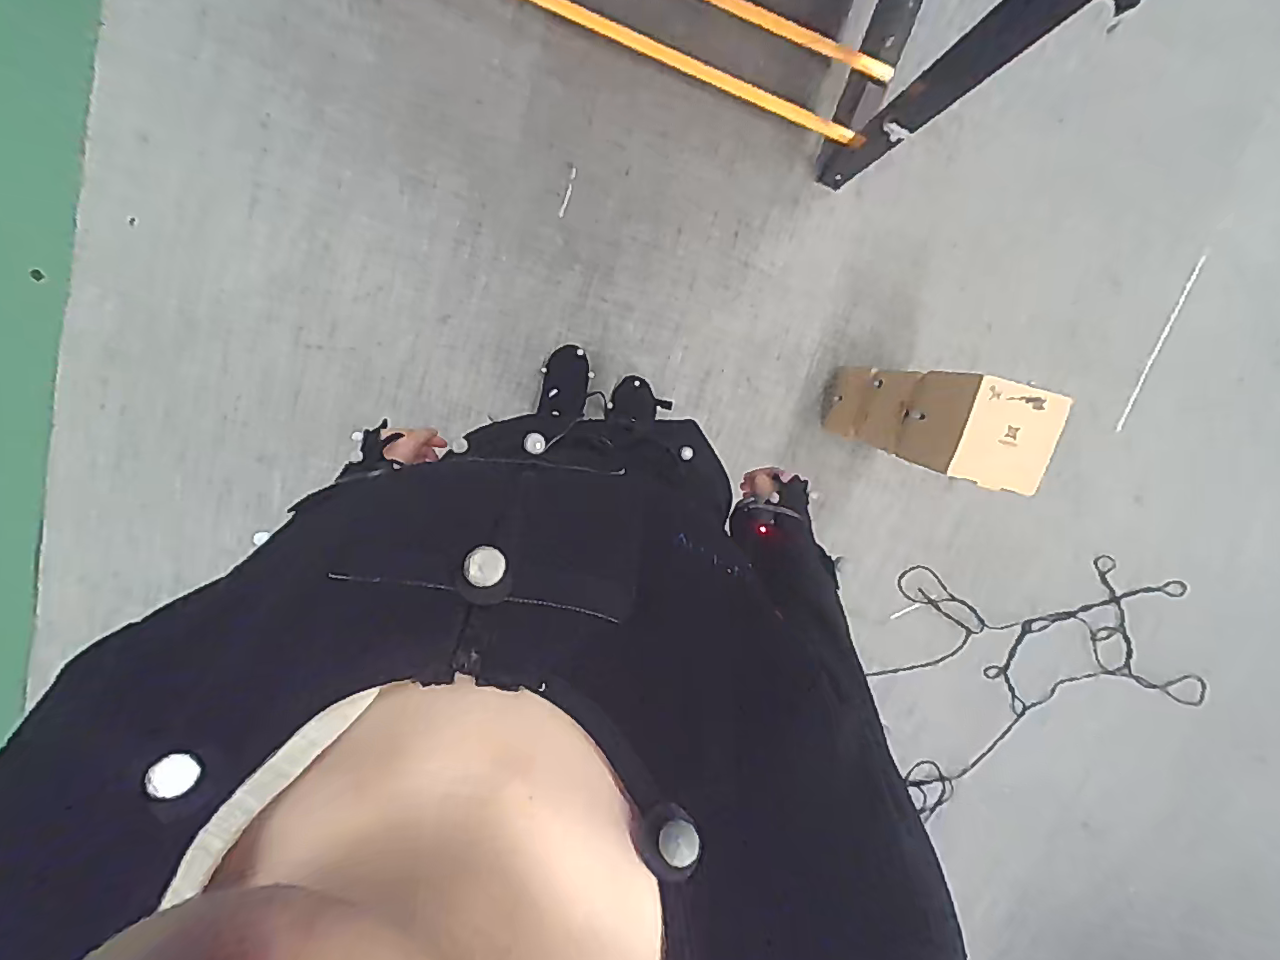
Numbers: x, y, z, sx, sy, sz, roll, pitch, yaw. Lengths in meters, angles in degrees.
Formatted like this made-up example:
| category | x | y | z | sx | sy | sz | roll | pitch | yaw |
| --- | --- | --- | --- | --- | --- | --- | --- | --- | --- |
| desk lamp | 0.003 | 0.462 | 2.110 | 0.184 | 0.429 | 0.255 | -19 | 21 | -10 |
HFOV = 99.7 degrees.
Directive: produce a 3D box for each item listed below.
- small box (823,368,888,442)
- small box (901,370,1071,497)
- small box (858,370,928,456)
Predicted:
| category | x | y | z | sx | sy | sz | roll | pitch | yaw |
| --- | --- | --- | --- | --- | --- | --- | --- | --- | --- |
| small box | 0.569 | -0.170 | 1.289 | 0.179 | 0.176 | 0.168 | 13 | 101 | -5 |
| small box | 0.603 | -0.091 | 0.971 | 0.168 | 0.176 | 0.179 | 14 | 103 | -7 |
| small box | 0.589 | -0.128 | 1.130 | 0.179 | 0.176 | 0.168 | 13 | 102 | -7 |
